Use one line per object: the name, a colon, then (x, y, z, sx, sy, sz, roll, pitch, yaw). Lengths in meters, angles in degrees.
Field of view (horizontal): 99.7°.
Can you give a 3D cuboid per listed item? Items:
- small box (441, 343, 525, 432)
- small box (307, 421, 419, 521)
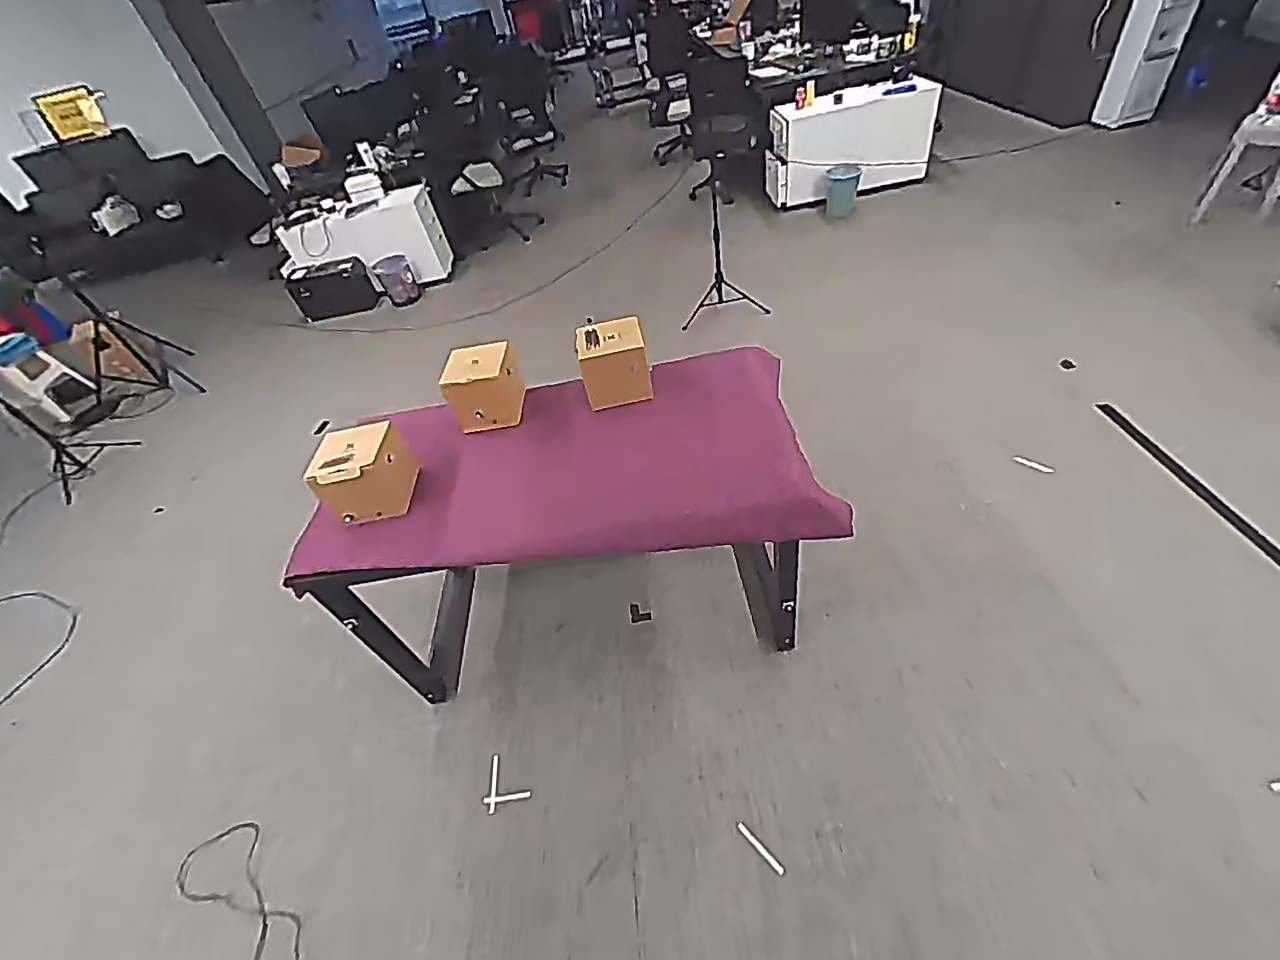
small box: (-0.431, -0.258, 1.521, 0.168, 0.176, 0.179, -8, 45, 5)
small box: (-0.672, -0.015, 1.338, 0.168, 0.176, 0.179, -11, 43, 2)
